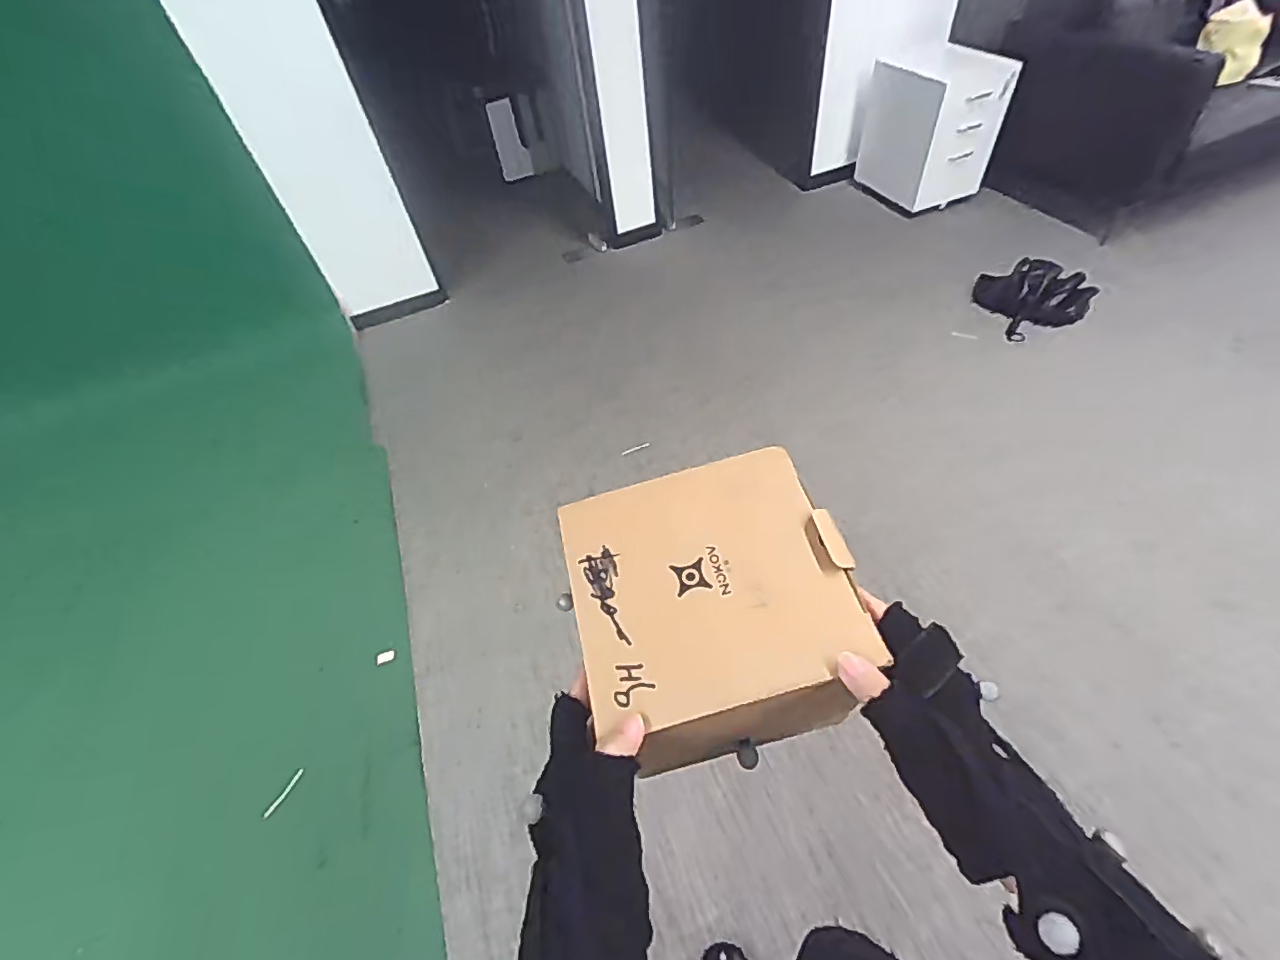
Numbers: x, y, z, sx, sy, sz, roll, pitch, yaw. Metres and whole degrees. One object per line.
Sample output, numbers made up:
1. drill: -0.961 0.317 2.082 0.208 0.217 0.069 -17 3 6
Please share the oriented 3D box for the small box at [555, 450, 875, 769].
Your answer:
1. small box: 0.047 0.107 0.419 0.179 0.176 0.168 -15 54 -1
